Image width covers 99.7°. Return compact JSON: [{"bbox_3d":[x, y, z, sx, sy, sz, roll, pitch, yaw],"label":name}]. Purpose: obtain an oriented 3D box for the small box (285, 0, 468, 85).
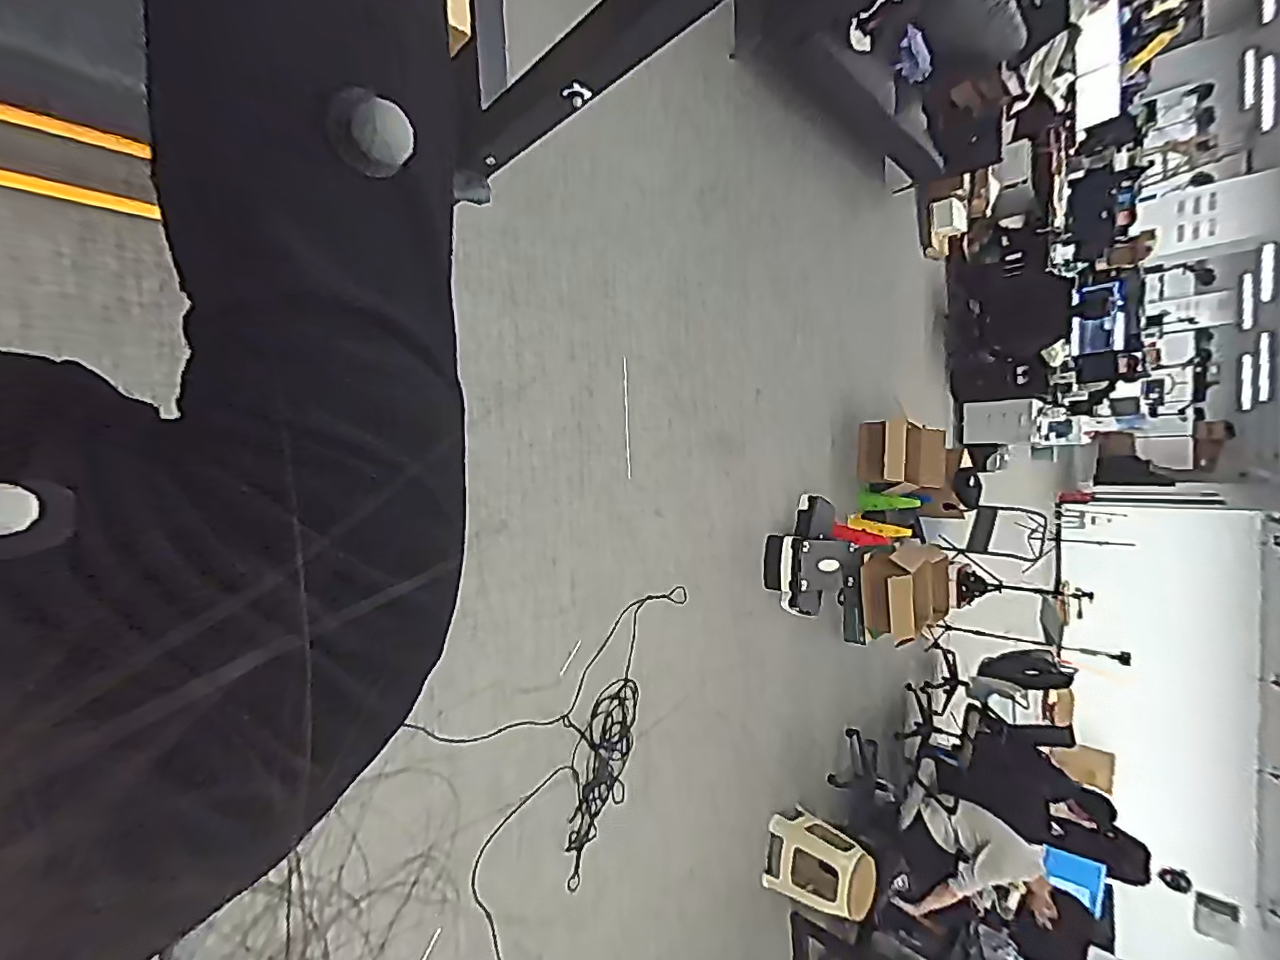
[{"bbox_3d":[-0.334,-0.647,0.675,0.168,0.176,0.179,-7,95,-46],"label":"small box"}]
